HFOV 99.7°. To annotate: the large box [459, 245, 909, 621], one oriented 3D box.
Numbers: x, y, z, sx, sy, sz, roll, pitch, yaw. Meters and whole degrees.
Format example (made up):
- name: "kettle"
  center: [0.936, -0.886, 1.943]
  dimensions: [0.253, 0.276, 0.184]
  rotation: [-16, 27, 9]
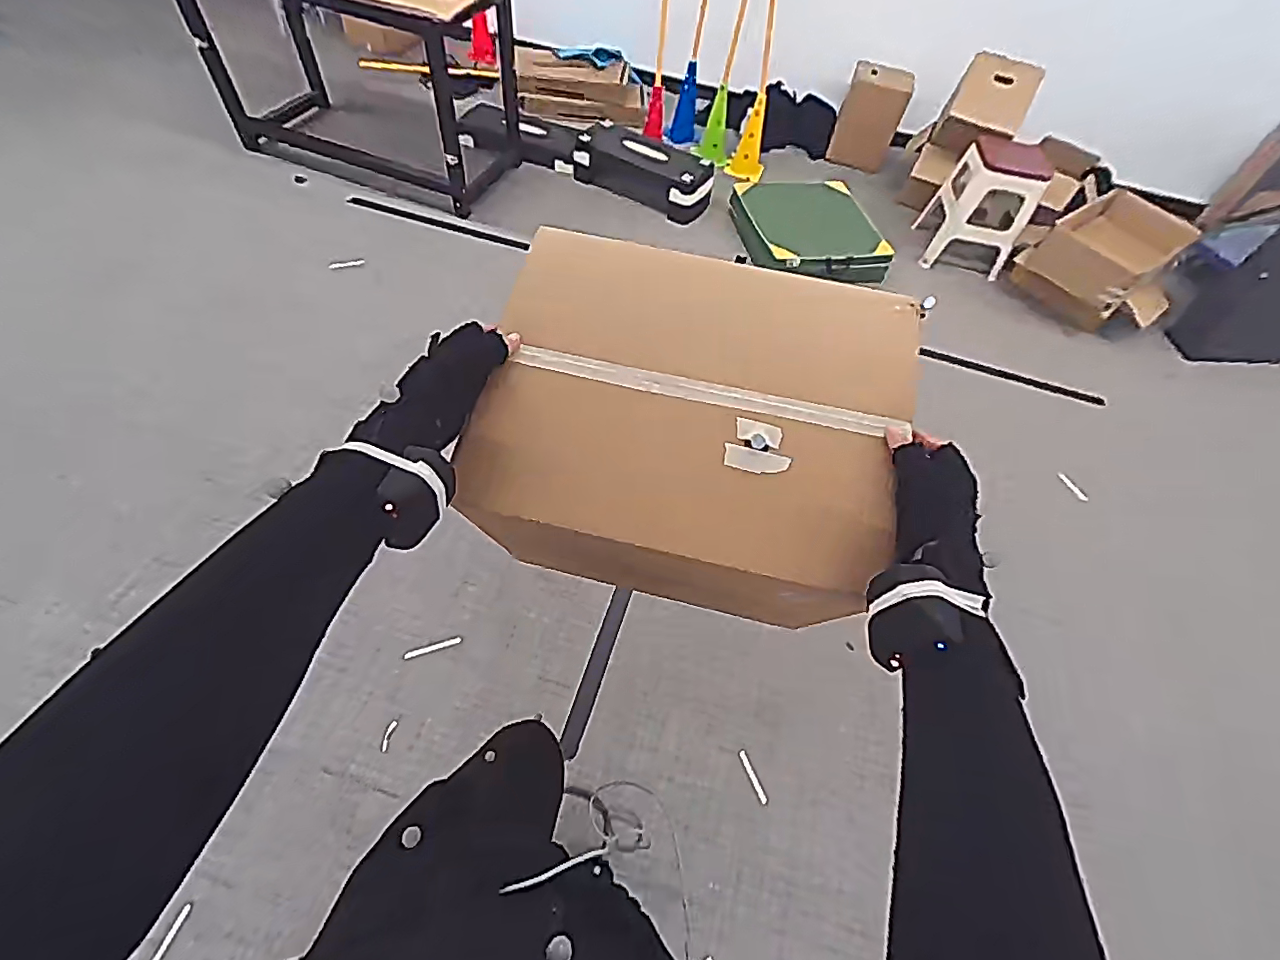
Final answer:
- name: "large box"
  center: [0.054, -0.032, 0.673]
  dimensions: [0.408, 0.320, 0.320]
  rotation: [13, 72, 5]
